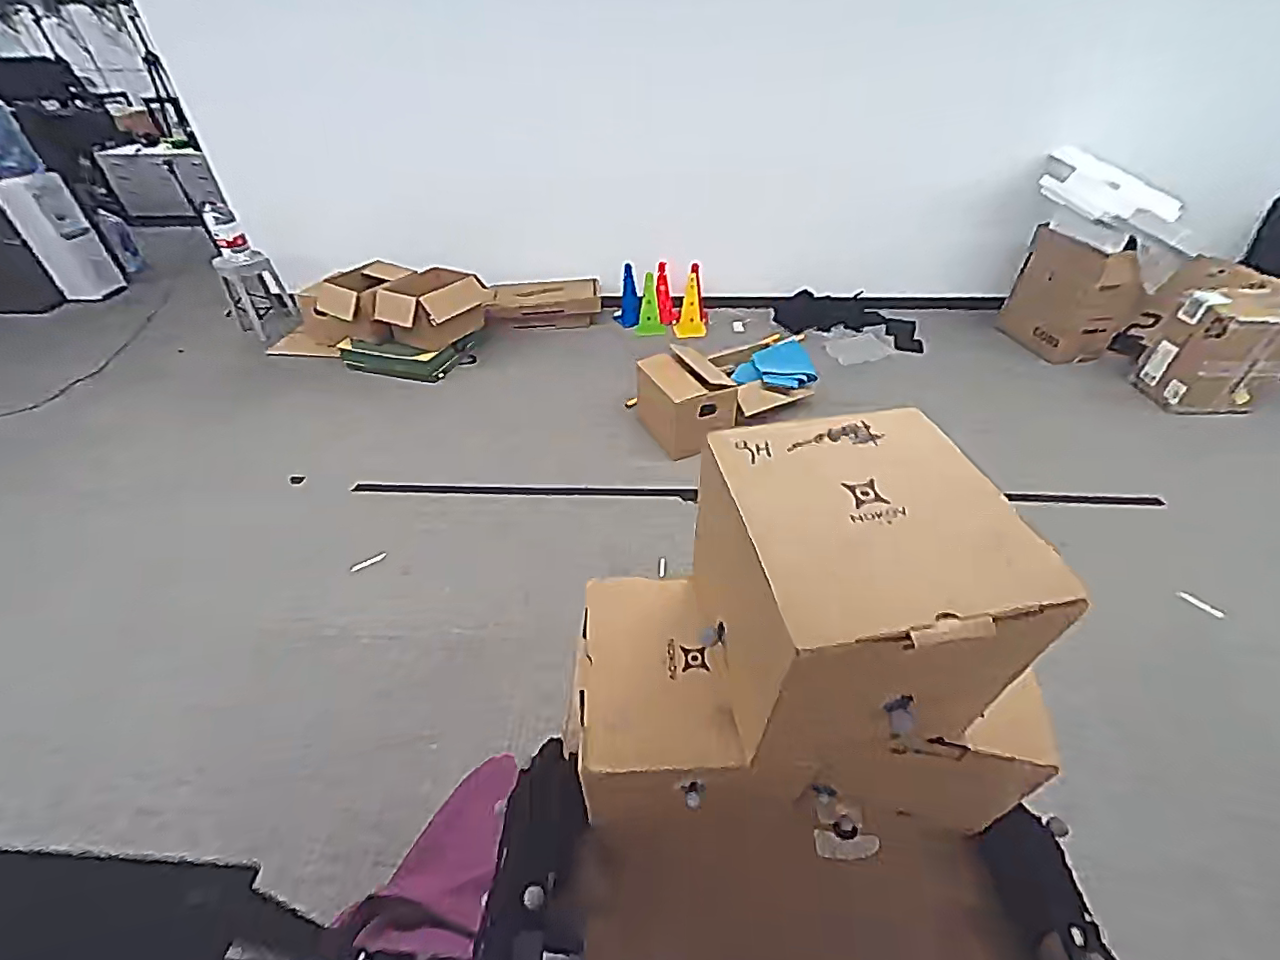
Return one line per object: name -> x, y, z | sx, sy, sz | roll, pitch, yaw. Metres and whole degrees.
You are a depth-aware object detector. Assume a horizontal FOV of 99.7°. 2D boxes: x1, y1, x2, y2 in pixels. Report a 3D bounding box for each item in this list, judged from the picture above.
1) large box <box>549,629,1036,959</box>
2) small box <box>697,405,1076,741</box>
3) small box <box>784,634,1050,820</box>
large box -> 0.123, 0.397, 0.642 | 0.408, 0.320, 0.320 | 2, 44, 1
small box -> 0.143, 0.070, 0.395 | 0.168, 0.176, 0.179 | -7, 44, -7
small box -> 0.235, 0.185, 0.509 | 0.168, 0.176, 0.179 | 10, 43, 12
